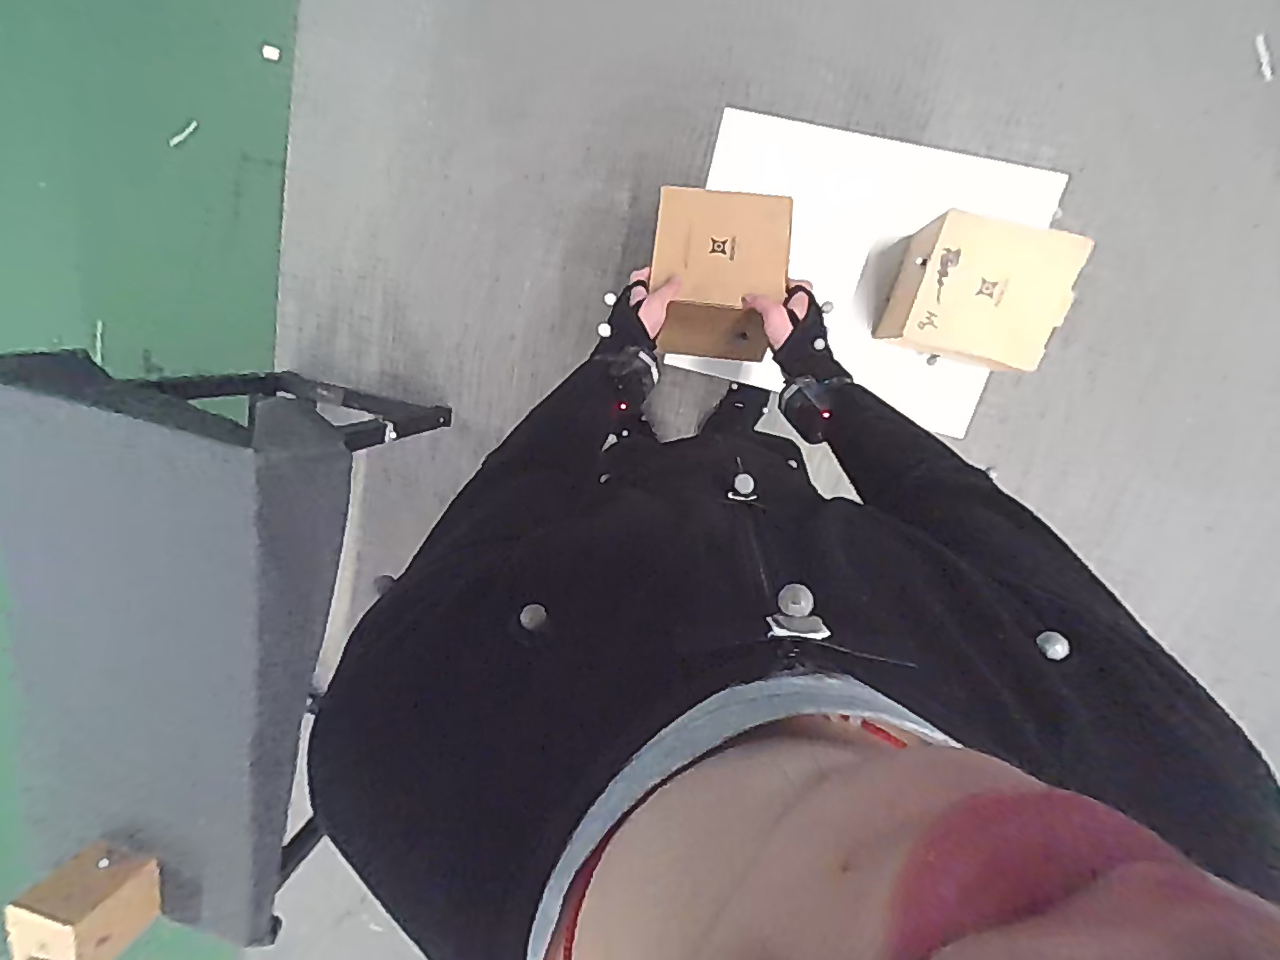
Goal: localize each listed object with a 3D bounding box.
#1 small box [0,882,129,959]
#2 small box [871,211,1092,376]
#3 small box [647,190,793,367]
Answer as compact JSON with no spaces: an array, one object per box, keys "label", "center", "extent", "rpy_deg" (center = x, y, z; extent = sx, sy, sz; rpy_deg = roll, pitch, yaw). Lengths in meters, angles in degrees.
[{"label":"small box","center":[-1.198,0.983,1.104],"extent":[0.168,0.176,0.179],"rpy_deg":[11,102,4]},{"label":"small box","center":[0.458,-0.252,0.759],"extent":[0.179,0.176,0.168],"rpy_deg":[16,104,3]},{"label":"small box","center":[0.103,-0.269,0.755],"extent":[0.179,0.176,0.168],"rpy_deg":[4,78,2]}]
